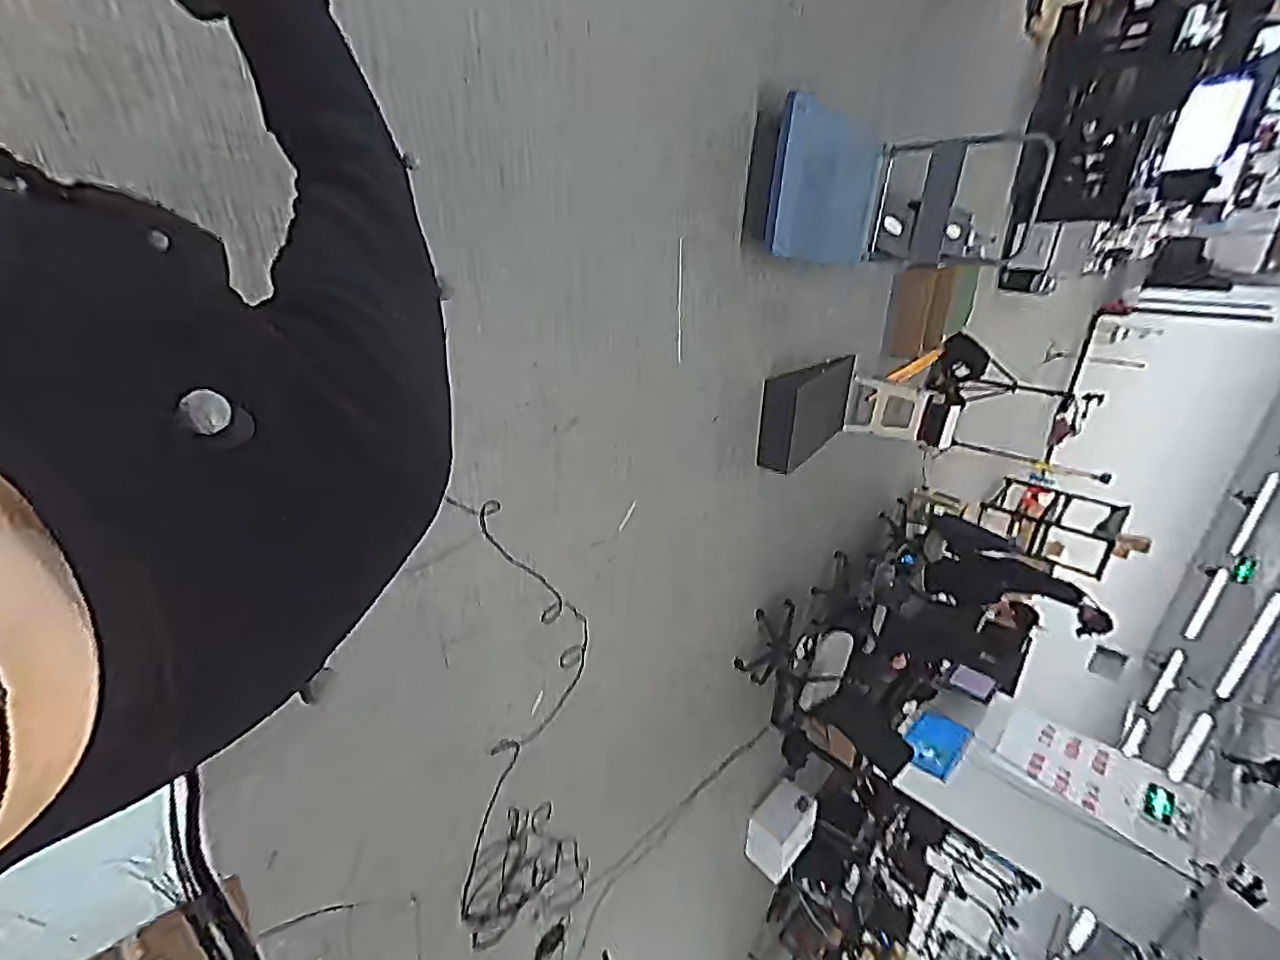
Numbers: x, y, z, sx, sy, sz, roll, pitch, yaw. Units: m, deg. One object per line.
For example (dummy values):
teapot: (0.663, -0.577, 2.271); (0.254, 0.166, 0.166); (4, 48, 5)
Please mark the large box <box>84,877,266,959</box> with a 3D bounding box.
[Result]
large box: (-0.738, 0.955, 0.840); (0.320, 0.320, 0.408); (-18, 121, -41)
